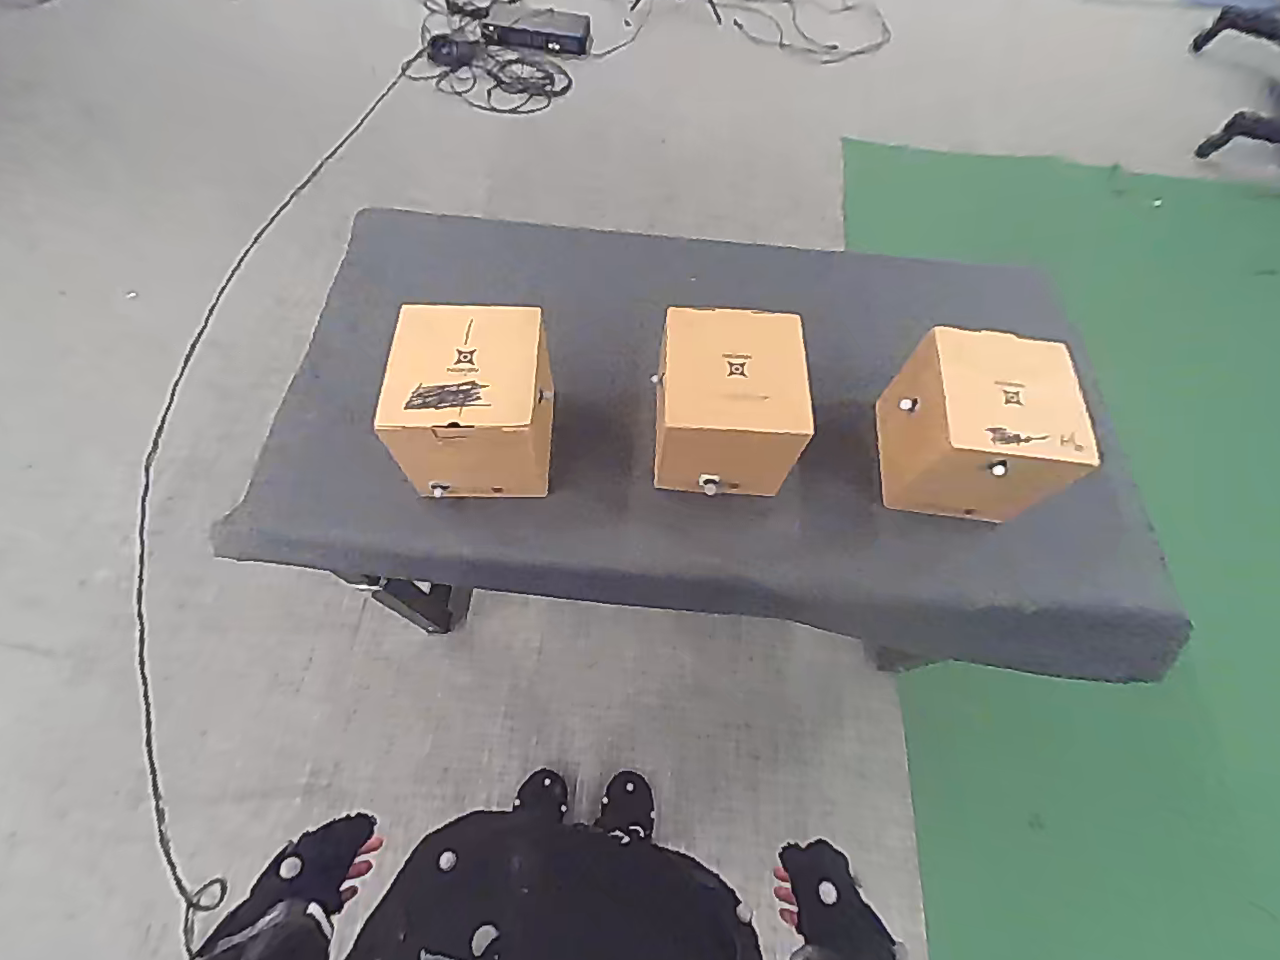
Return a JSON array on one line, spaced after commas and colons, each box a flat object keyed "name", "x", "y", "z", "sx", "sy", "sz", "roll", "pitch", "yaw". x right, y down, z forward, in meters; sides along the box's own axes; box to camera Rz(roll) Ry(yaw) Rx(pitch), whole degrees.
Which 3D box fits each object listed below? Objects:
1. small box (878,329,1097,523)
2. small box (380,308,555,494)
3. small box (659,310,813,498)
[{"name": "small box", "x": 0.425, "y": -0.064, "z": 0.701, "sx": 0.168, "sy": 0.176, "sz": 0.179, "roll": 7, "pitch": 63, "yaw": 2}, {"name": "small box", "x": -0.199, "y": -0.092, "z": 0.682, "sx": 0.168, "sy": 0.176, "sz": 0.179, "roll": 0, "pitch": 62, "yaw": -3}, {"name": "small box", "x": 0.111, "y": -0.093, "z": 0.703, "sx": 0.168, "sy": 0.176, "sz": 0.179, "roll": 2, "pitch": 64, "yaw": 0}]
